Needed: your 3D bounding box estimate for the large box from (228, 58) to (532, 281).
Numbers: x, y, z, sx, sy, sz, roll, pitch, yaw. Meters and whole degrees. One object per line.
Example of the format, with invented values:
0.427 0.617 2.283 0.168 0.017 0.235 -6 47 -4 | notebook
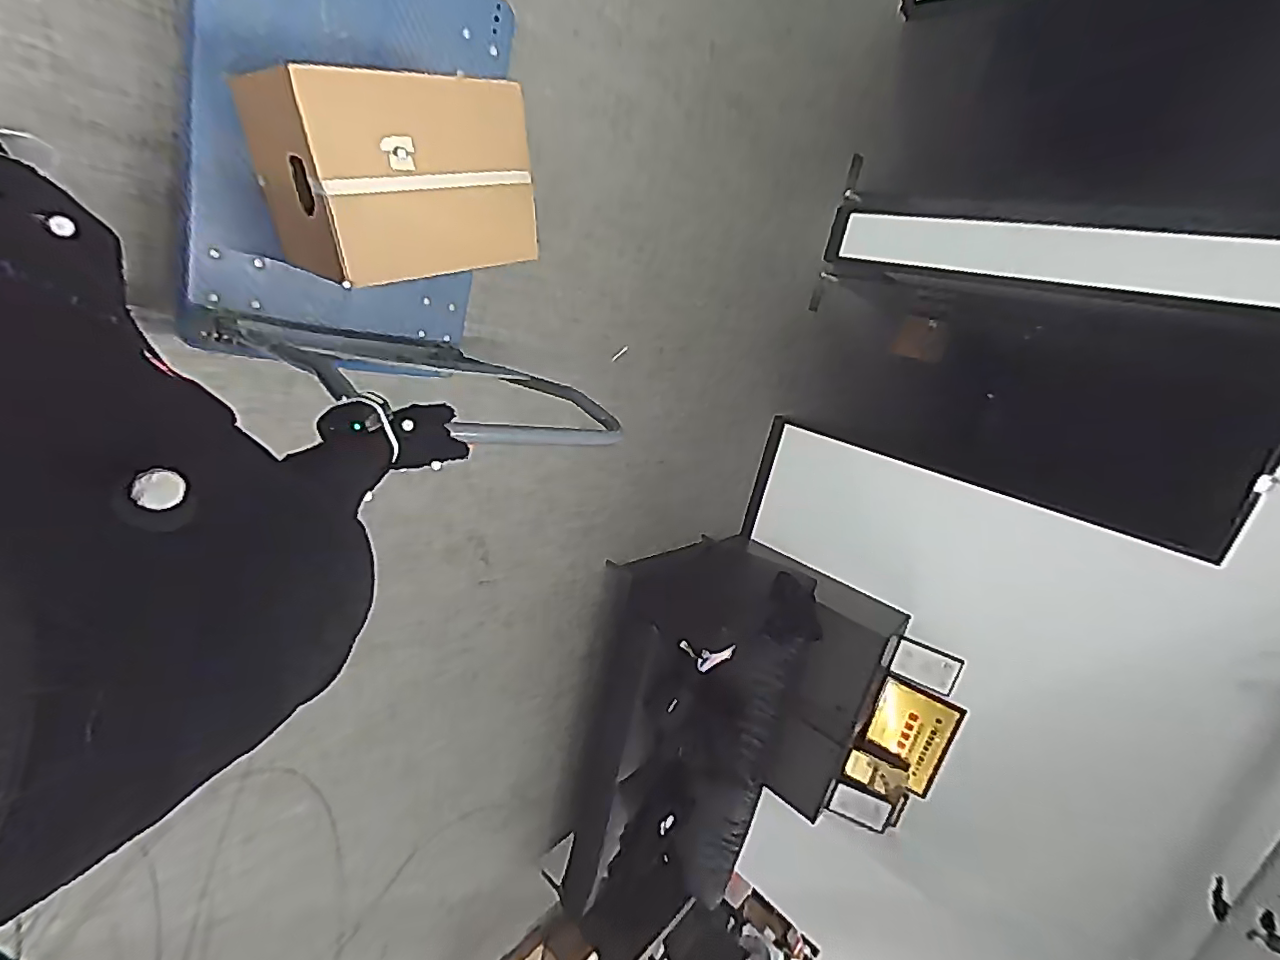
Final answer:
-0.475 -0.605 1.049 0.408 0.320 0.320 -29 132 -37 | large box
